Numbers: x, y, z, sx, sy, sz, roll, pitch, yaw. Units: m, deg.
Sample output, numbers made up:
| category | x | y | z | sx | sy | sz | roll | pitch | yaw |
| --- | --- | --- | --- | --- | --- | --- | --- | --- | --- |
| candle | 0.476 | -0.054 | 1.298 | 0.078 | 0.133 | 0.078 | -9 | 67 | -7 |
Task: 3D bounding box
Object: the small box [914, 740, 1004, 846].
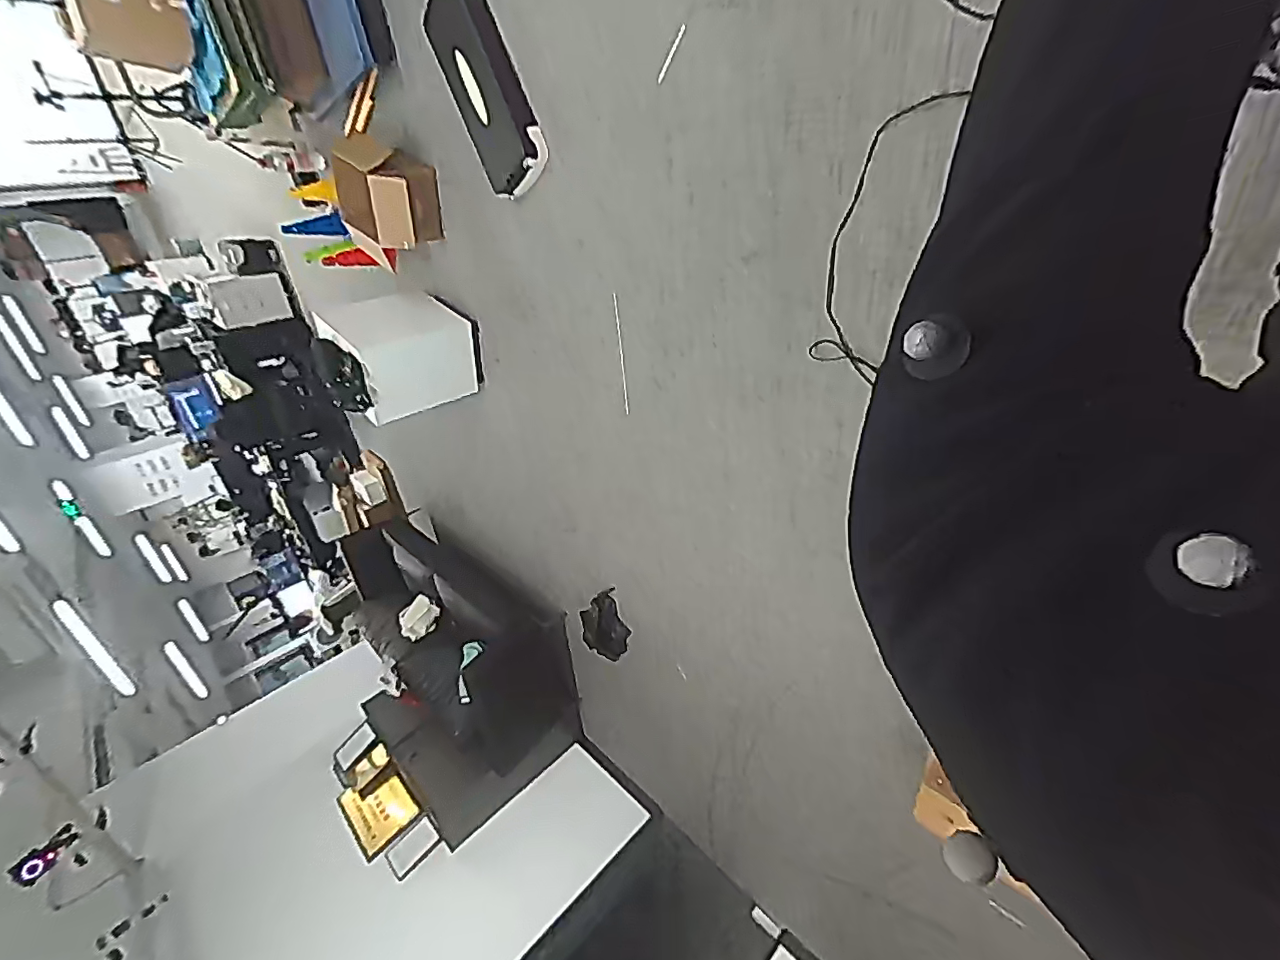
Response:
| category | x | y | z | sx | sy | sz | roll | pitch | yaw |
| --- | --- | --- | --- | --- | --- | --- | --- | --- | --- |
| small box | 0.943 | 0.914 | 1.596 | 0.179 | 0.176 | 0.168 | 23 | 130 | 41 |
